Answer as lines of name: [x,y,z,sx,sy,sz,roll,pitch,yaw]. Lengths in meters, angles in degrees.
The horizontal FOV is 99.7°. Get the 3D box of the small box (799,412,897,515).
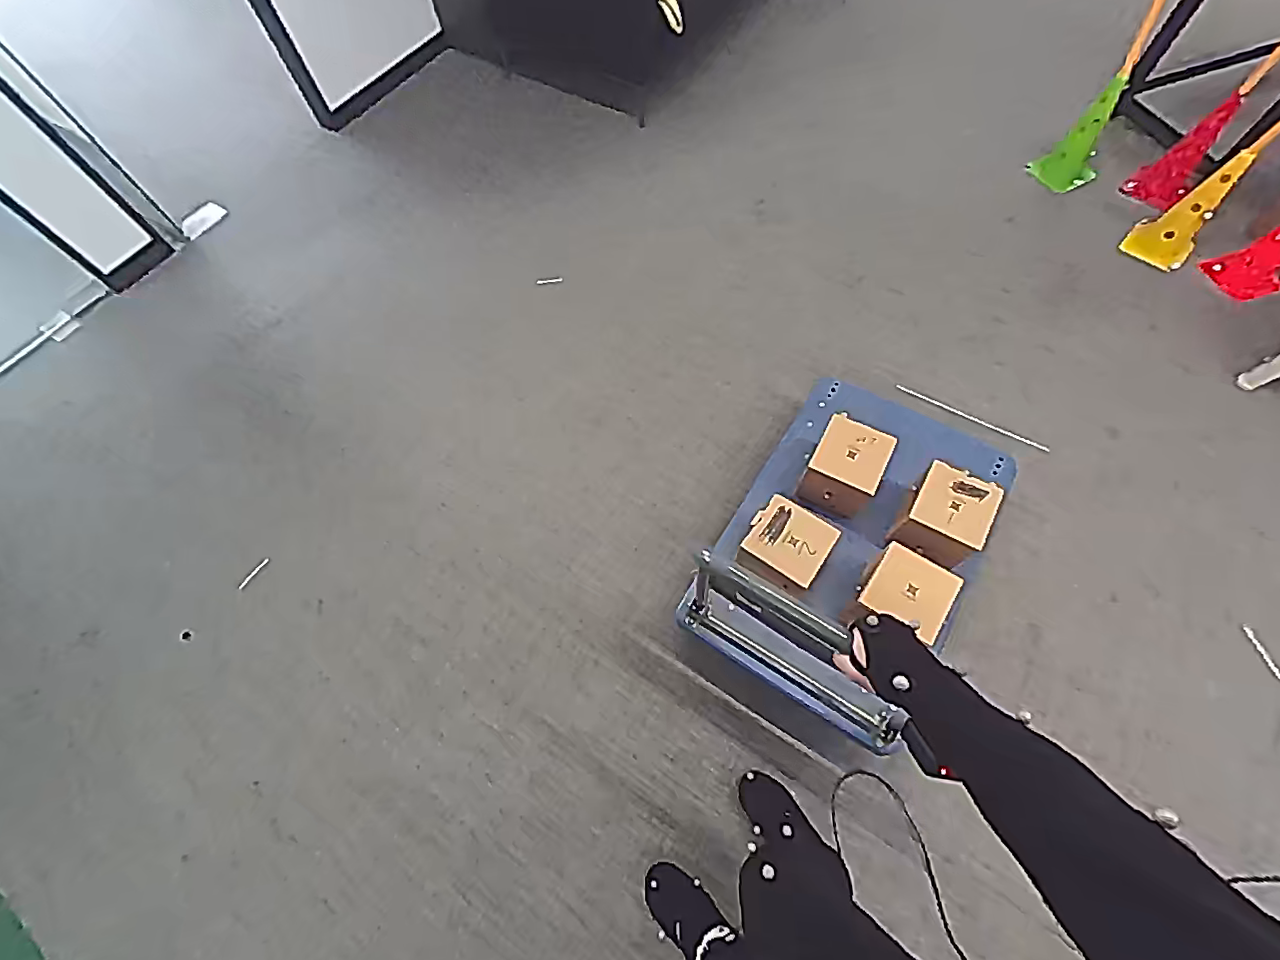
small box: [0.526,-0.036,1.391,0.168,0.176,0.179,27,70,15]

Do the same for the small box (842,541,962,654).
small box: [0.592,0.275,1.244,0.168,0.176,0.179,32,72,17]

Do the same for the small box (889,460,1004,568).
small box: [0.737,0.087,1.319,0.168,0.176,0.179,29,71,17]
